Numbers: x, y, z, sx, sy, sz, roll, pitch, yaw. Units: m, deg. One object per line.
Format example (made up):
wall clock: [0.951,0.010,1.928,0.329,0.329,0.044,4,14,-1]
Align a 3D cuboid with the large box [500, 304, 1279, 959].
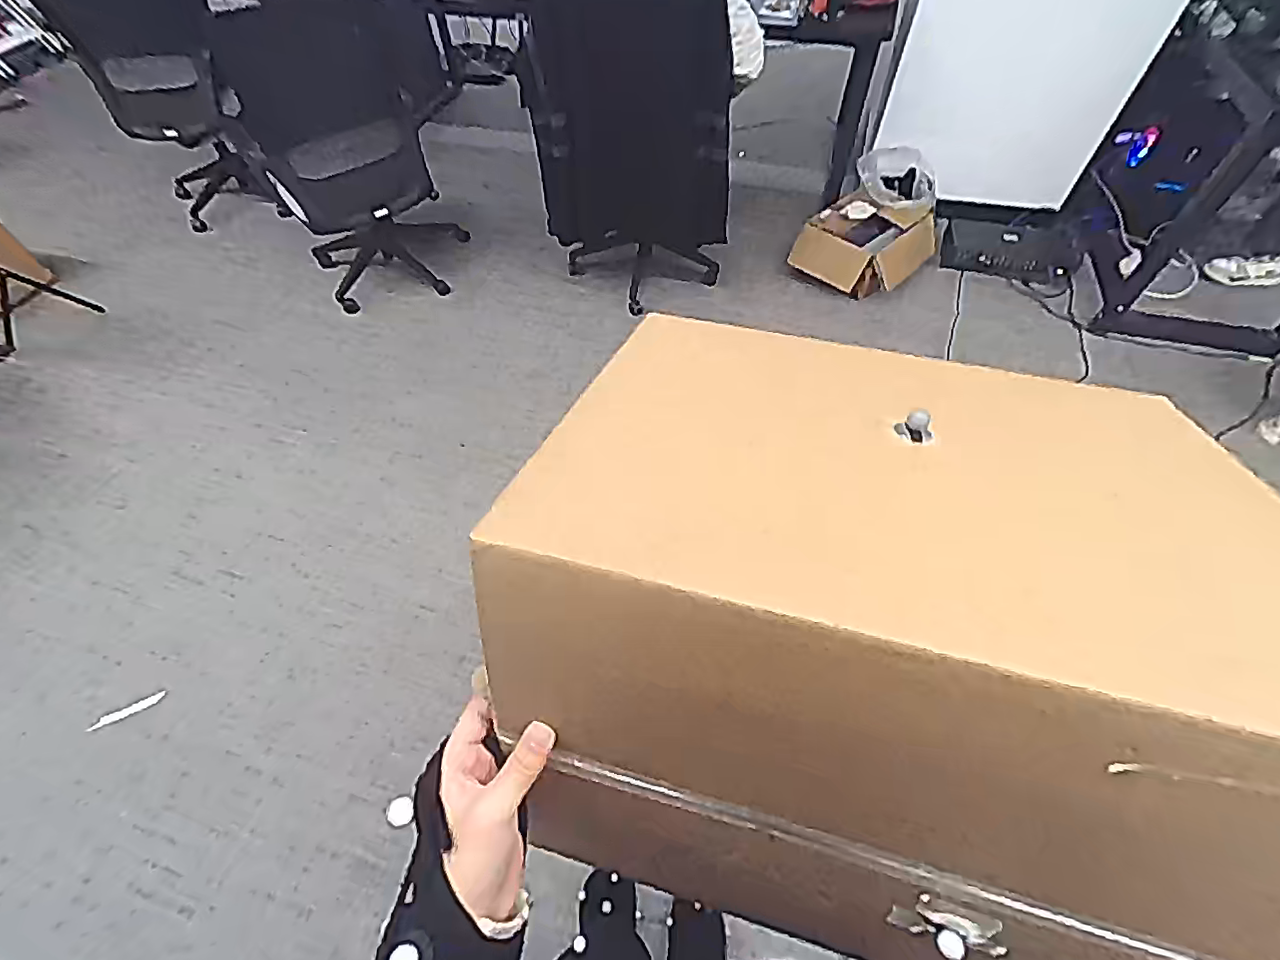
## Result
large box: [0.160,0.083,0.397,0.408,0.320,0.320,11,37,10]
